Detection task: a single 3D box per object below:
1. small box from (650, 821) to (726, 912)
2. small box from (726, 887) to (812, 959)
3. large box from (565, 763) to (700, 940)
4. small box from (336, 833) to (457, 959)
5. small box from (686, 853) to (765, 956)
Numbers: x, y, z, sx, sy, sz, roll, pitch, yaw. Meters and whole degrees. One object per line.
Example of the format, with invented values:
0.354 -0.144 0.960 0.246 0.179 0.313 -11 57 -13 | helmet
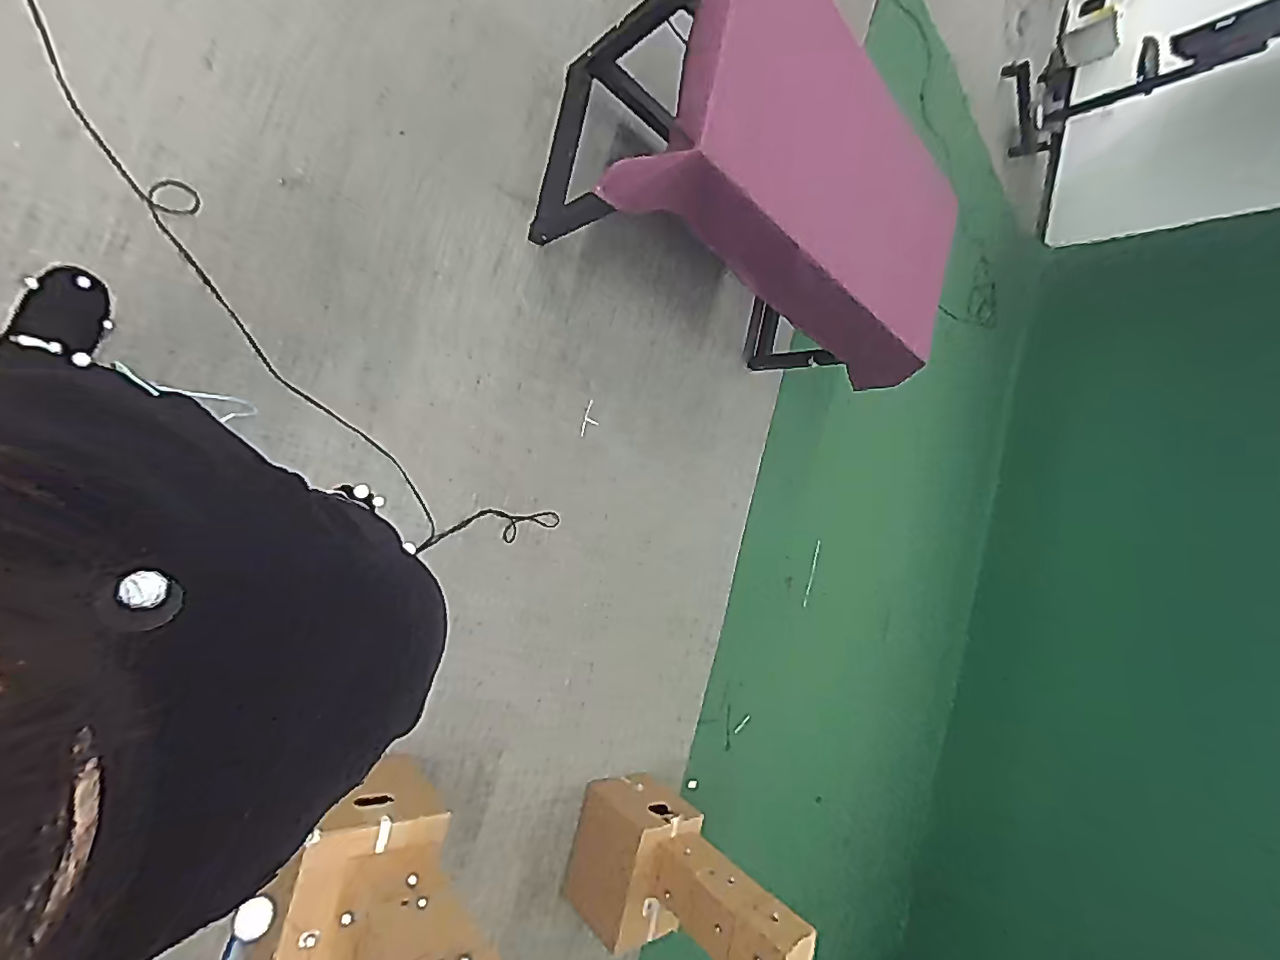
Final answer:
0.159 1.291 1.820 0.179 0.176 0.168 17 86 -42 | small box
0.372 1.332 1.573 0.168 0.176 0.179 14 87 -41 | small box
-0.030 1.328 1.986 0.320 0.320 0.408 18 85 -41 | large box
-0.529 0.905 1.167 0.179 0.176 0.168 16 85 -43 | small box
0.264 1.315 1.697 0.168 0.176 0.179 11 90 -41 | small box
